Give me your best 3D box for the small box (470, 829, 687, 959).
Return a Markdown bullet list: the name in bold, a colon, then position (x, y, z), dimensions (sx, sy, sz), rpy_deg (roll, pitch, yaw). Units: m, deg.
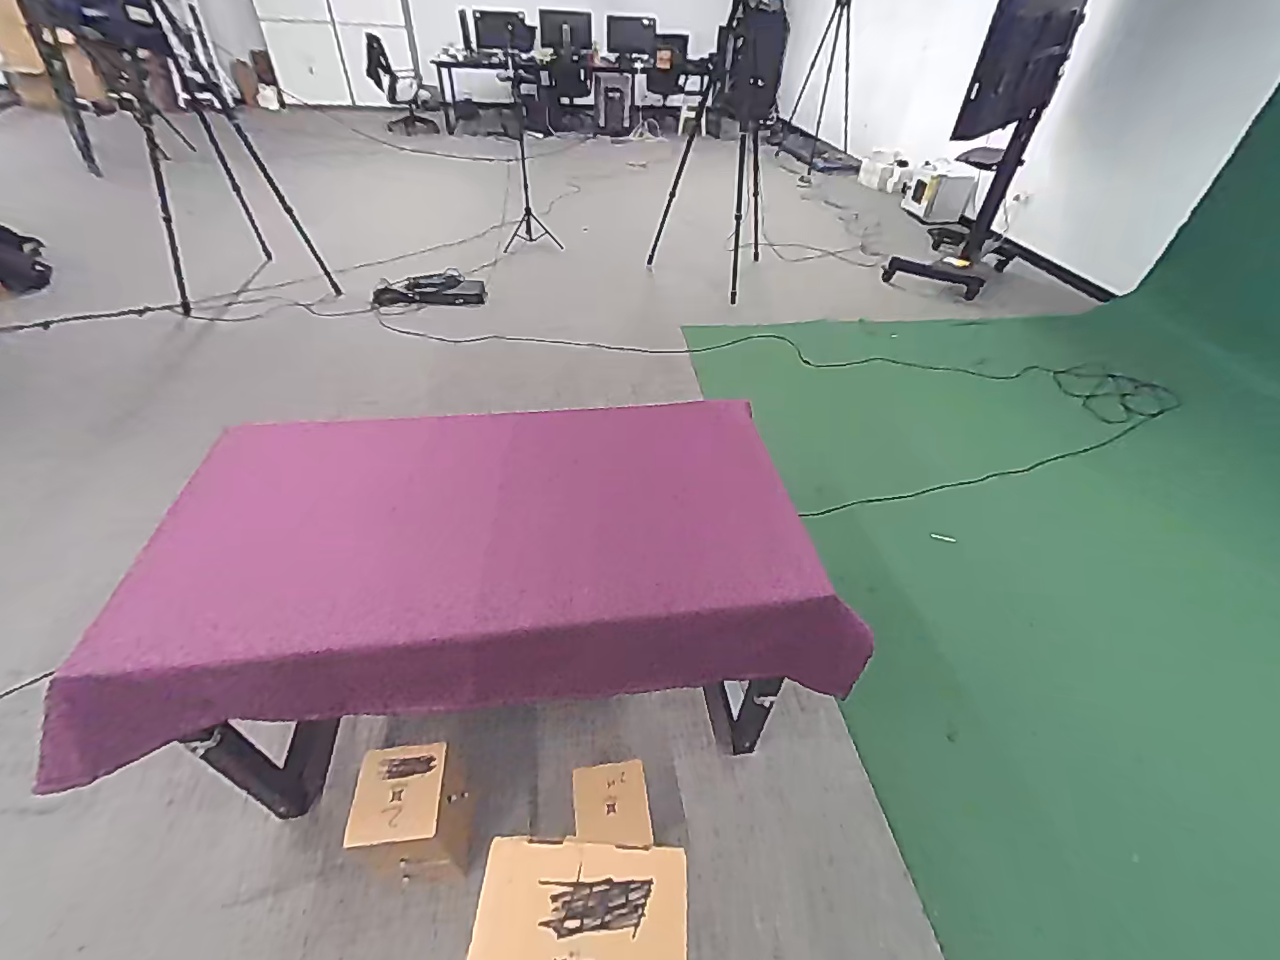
- **small box**: position (-0.047, 0.424, 0.462), dimensions (0.168, 0.176, 0.179), rpy_deg (1, 47, 4)
